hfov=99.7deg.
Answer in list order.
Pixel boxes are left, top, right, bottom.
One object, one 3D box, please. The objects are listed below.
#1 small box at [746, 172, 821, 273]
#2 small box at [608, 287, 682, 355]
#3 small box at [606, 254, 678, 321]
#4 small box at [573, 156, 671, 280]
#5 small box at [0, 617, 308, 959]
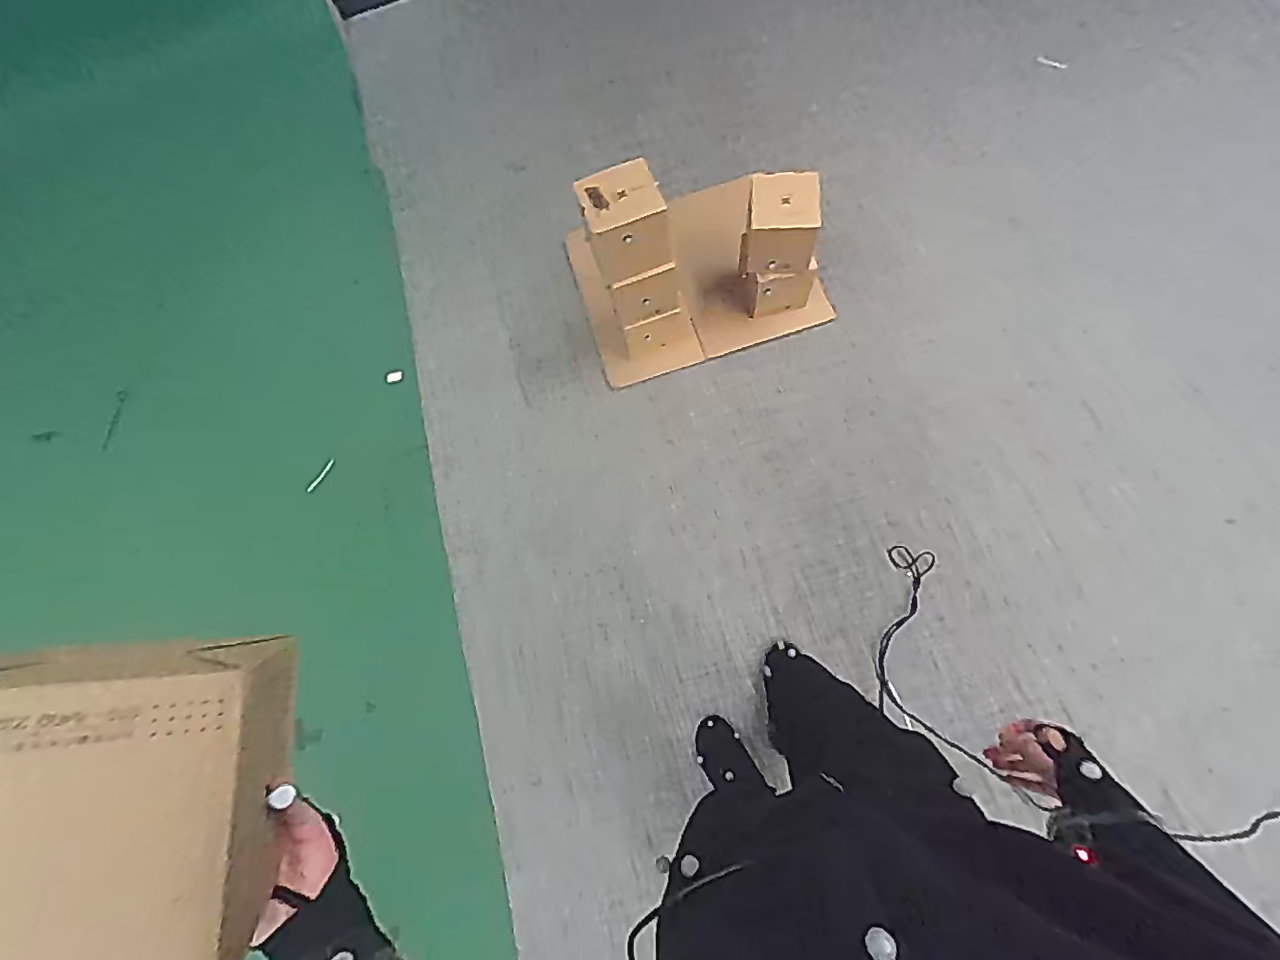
[{"bbox_3d":[0.366,-0.665,1.403,0.168,0.176,0.179,2,72,7],"label":"small box"},{"bbox_3d":[0.019,-0.484,1.563,0.168,0.176,0.179,-19,70,0],"label":"small box"},{"bbox_3d":[-0.004,-0.541,1.410,0.168,0.176,0.179,-19,70,0],"label":"small box"},{"bbox_3d":[-0.036,-0.600,1.259,0.179,0.176,0.168,-20,70,0],"label":"small box"},{"bbox_3d":[-0.301,0.171,0.307,0.168,0.179,0.176,4,80,-24],"label":"small box"}]
